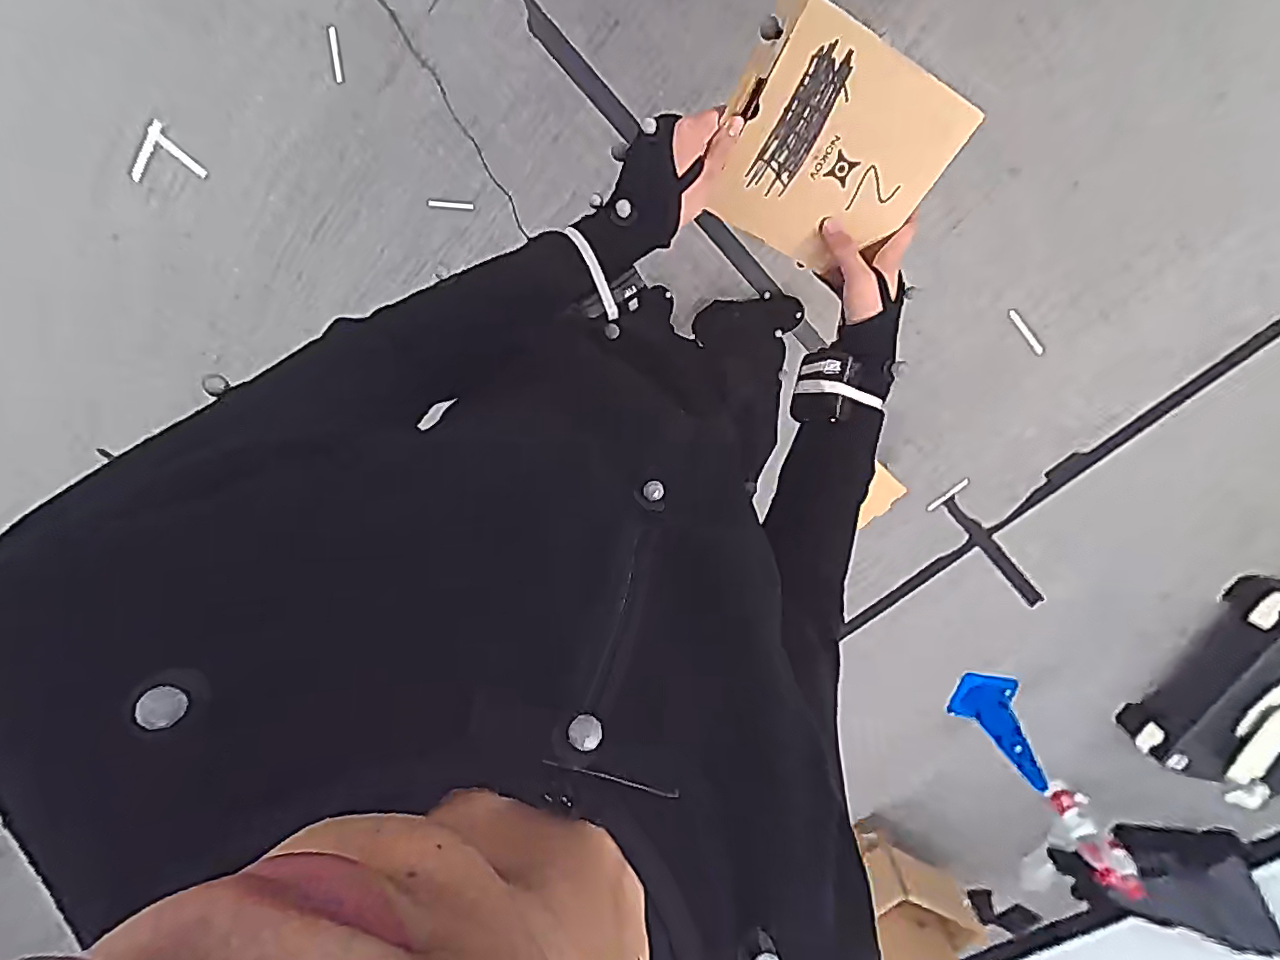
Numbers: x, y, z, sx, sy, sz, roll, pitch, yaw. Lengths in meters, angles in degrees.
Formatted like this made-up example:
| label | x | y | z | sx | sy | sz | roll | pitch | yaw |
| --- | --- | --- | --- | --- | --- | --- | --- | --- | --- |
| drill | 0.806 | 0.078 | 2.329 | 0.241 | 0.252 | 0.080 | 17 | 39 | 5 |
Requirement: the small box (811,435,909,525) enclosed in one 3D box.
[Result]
| label | x | y | z | sx | sy | sz | roll | pitch | yaw |
| --- | --- | --- | --- | --- | --- | --- | --- | --- | --- |
| small box | 0.619 | -0.010 | 1.545 | 0.179 | 0.176 | 0.168 | 39 | 111 | -13 |
